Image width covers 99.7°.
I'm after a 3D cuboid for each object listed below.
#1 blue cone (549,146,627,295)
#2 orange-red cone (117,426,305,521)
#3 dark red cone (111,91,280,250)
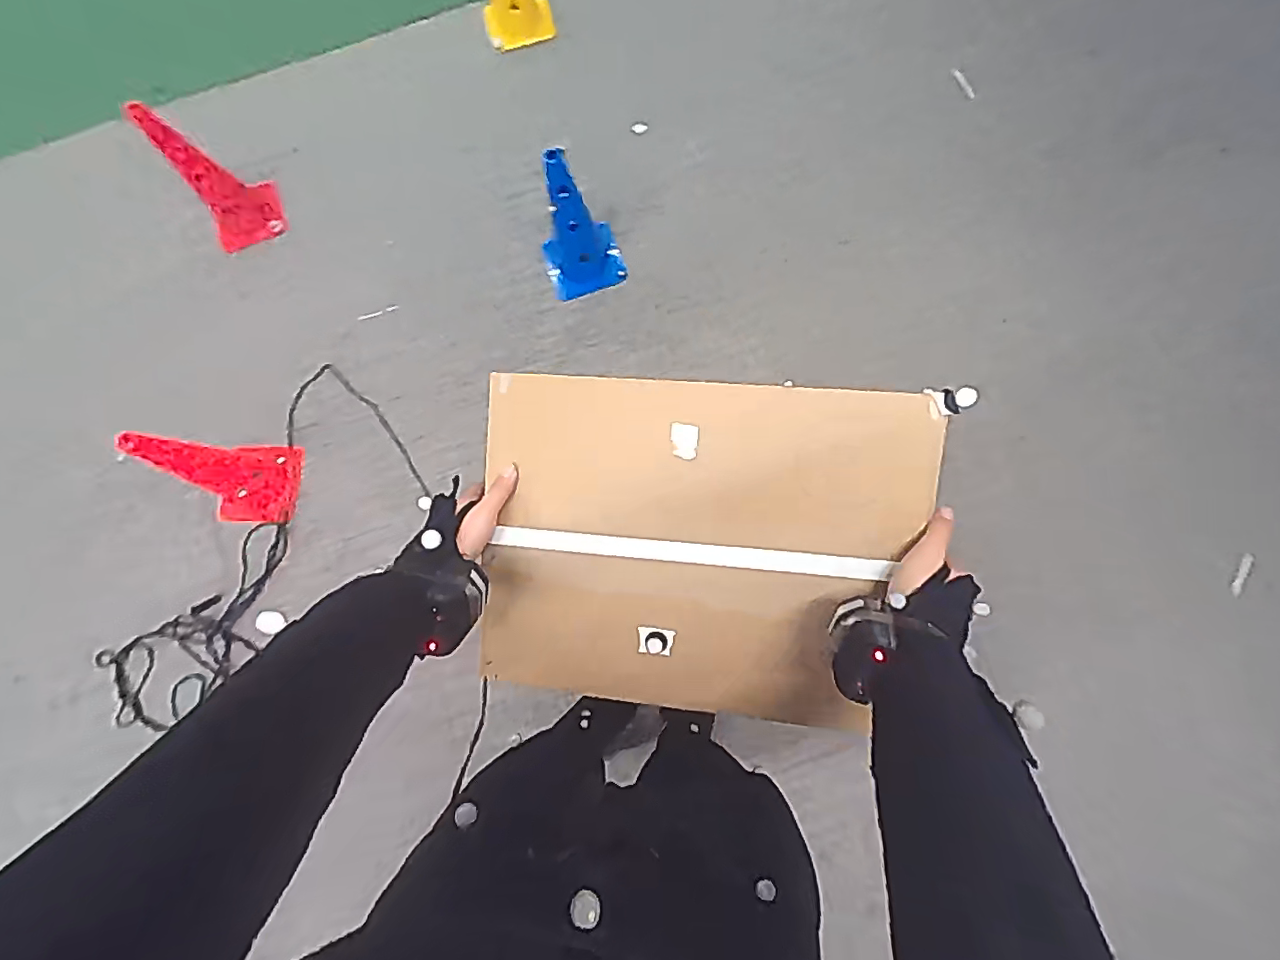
[{"bbox_3d":[-0.161,-0.643,1.320,0.192,0.380,0.193,-18,74,0],"label":"blue cone"},{"bbox_3d":[-0.987,-0.039,1.223,0.199,0.360,0.198,1,74,7],"label":"orange-red cone"},{"bbox_3d":[-1.177,-0.826,1.430,0.202,0.394,0.201,-25,71,-1],"label":"dark red cone"}]
